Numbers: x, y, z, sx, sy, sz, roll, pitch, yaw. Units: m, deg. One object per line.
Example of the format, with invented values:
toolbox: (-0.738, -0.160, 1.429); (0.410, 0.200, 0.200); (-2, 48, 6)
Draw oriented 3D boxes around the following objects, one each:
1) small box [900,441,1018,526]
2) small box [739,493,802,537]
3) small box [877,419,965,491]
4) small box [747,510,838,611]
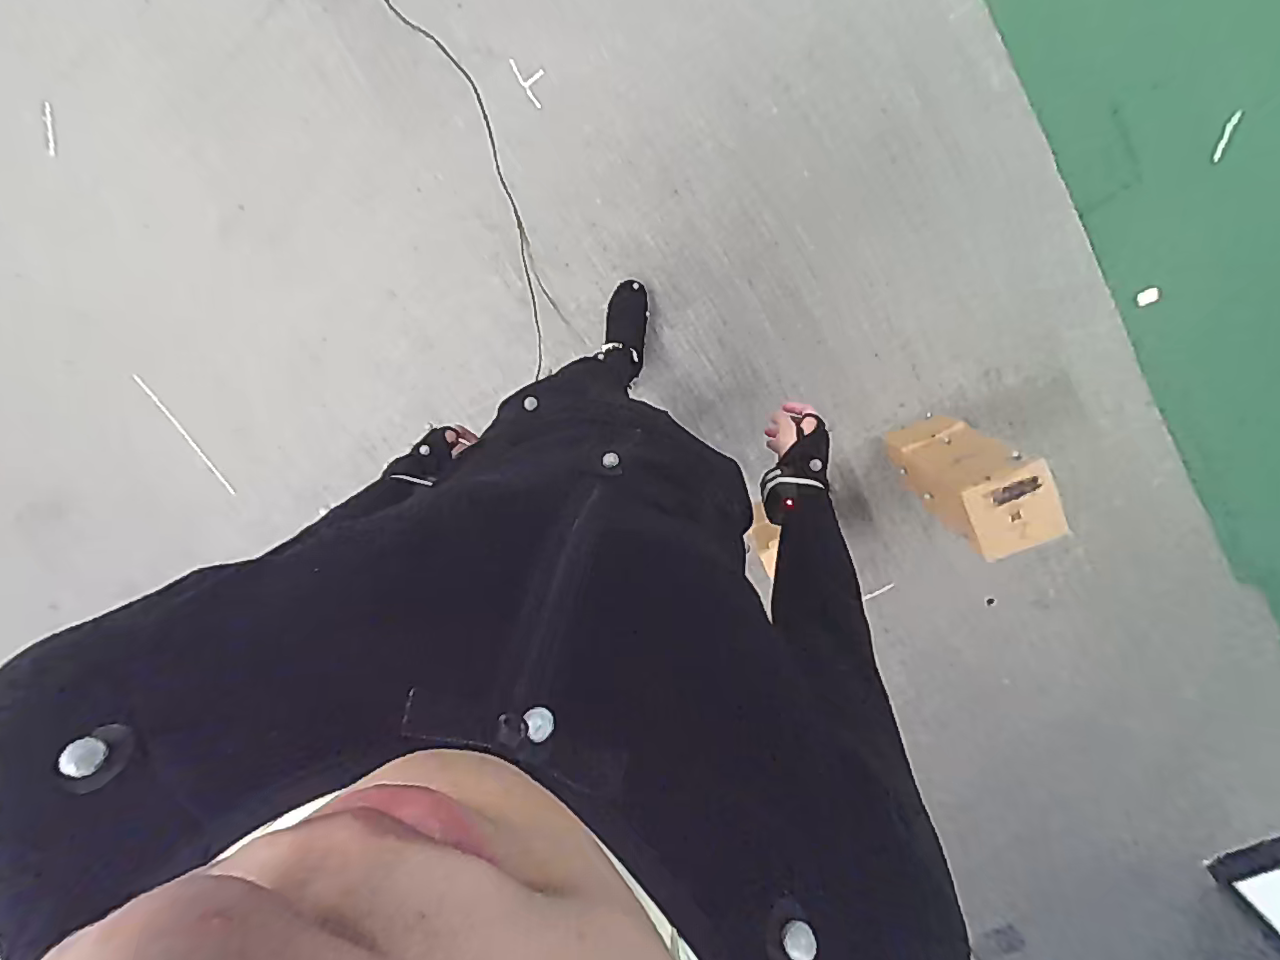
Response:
small box: (0.772, 0.002, 1.329); (0.179, 0.176, 0.168); (6, 104, 3)
small box: (0.400, 0.152, 1.565); (0.168, 0.176, 0.179); (-28, 100, 12)
small box: (0.775, -0.054, 1.474); (0.168, 0.176, 0.179); (-25, 103, 12)
small box: (0.390, 0.204, 1.409); (0.168, 0.176, 0.179); (-23, 102, 10)
